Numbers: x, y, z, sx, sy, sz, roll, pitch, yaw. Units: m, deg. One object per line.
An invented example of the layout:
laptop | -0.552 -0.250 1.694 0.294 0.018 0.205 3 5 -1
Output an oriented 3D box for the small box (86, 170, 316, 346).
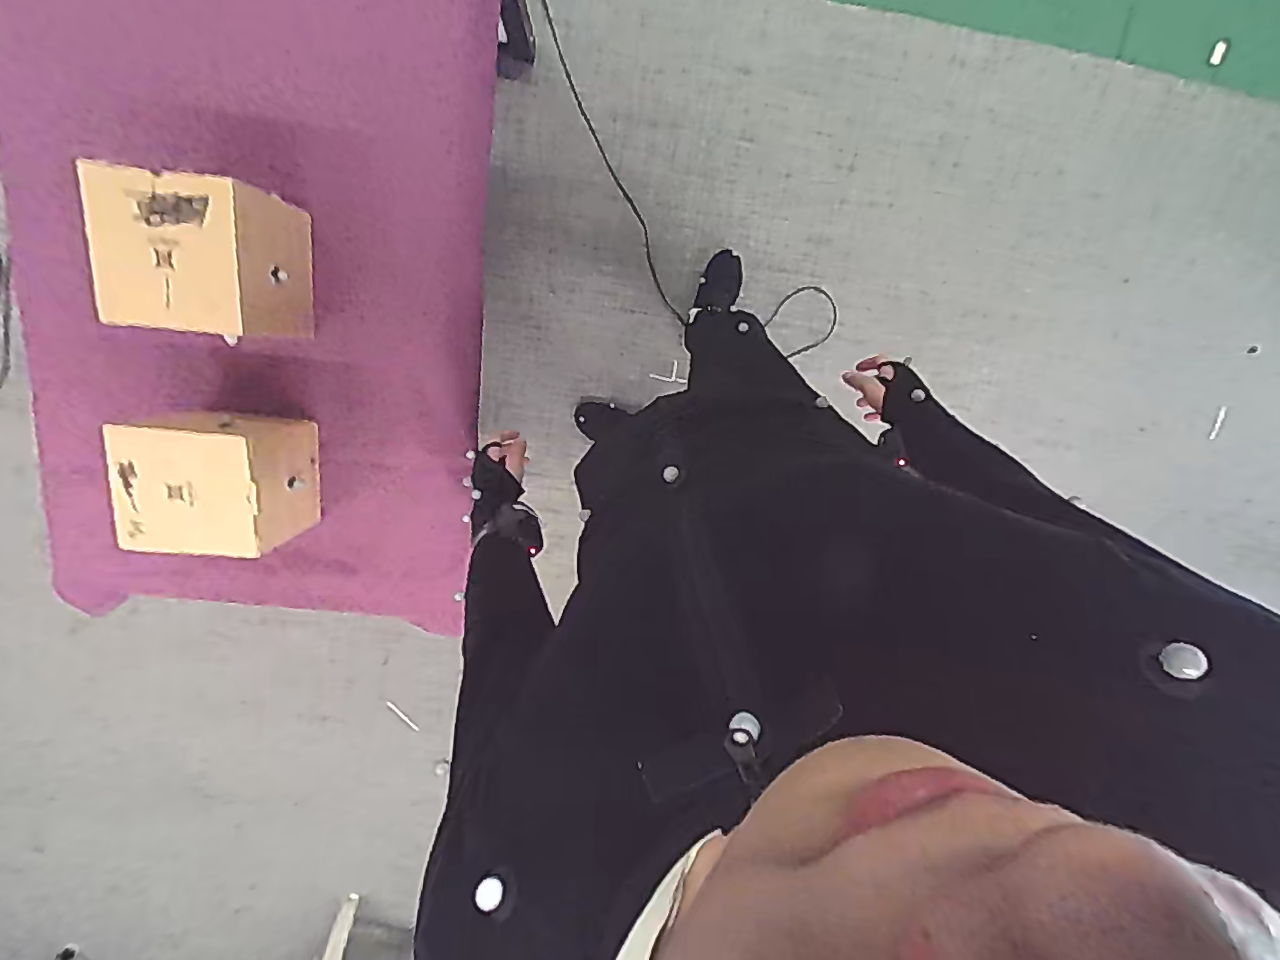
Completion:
small box | -0.549 -0.273 0.704 0.168 0.176 0.179 5 104 -4

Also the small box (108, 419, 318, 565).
small box | -0.583 0.009 0.768 0.179 0.176 0.168 5 103 -5
